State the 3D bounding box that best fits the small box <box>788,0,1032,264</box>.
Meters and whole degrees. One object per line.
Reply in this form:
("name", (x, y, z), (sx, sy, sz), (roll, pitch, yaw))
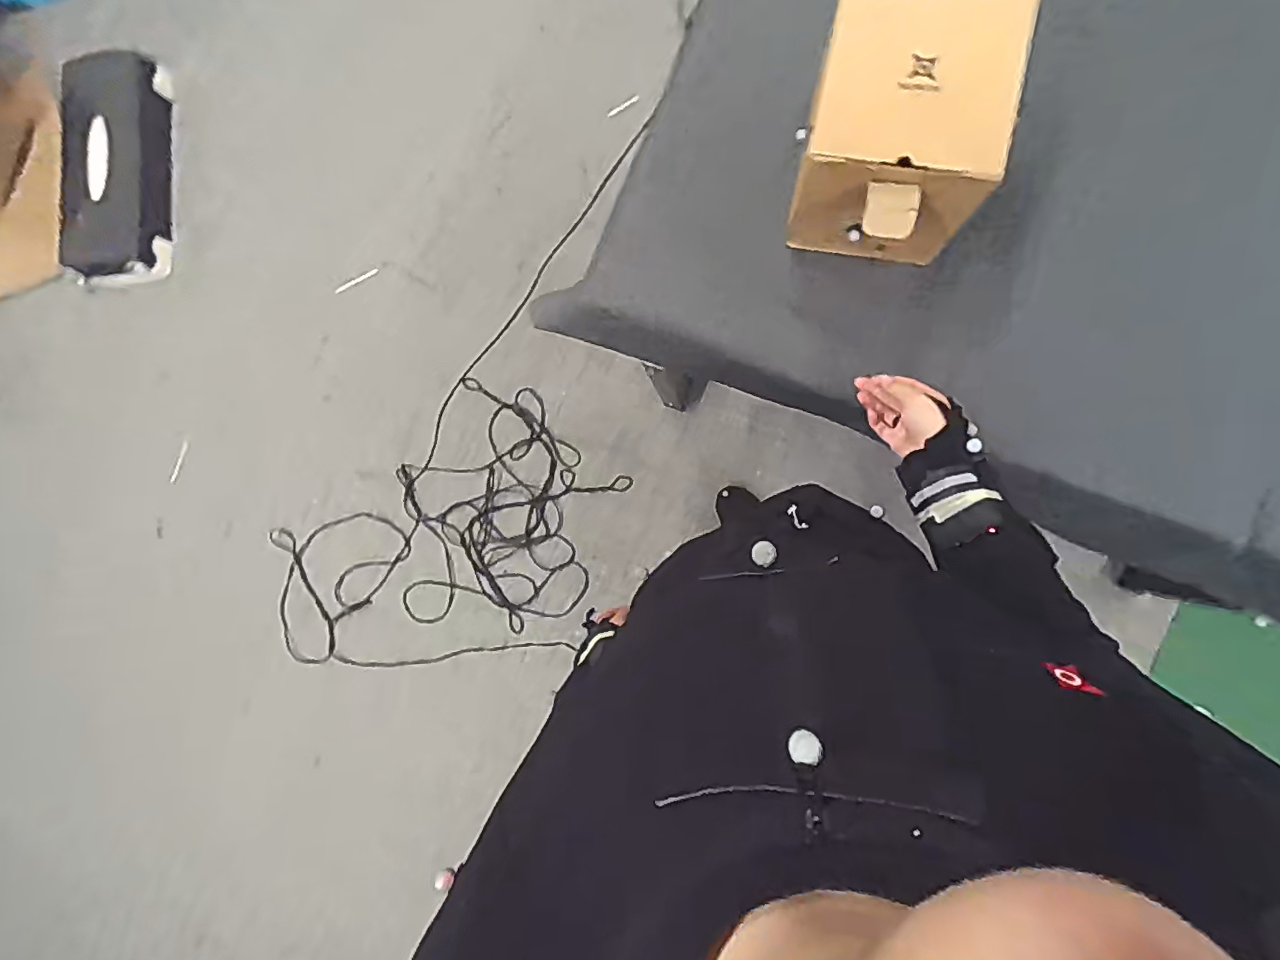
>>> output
("small box", (0.257, -0.353, 0.558), (0.168, 0.176, 0.179), (11, 89, 8))
